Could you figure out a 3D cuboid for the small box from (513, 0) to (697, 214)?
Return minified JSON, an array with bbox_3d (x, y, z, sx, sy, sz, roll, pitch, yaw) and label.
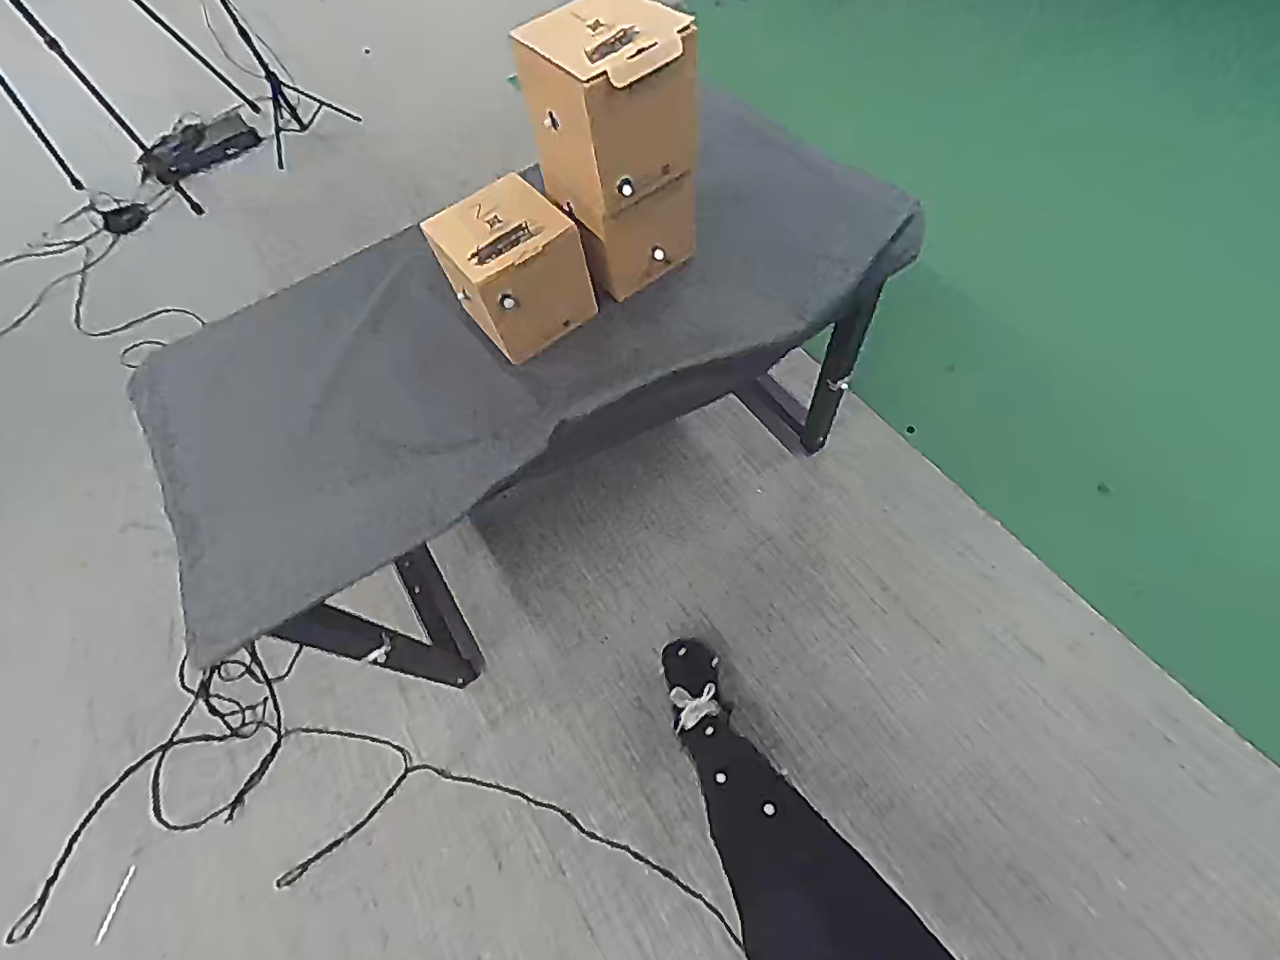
[{"bbox_3d":[-0.036,-0.491,0.724,0.168,0.176,0.179,-36,63,-11],"label":"small box"}]
